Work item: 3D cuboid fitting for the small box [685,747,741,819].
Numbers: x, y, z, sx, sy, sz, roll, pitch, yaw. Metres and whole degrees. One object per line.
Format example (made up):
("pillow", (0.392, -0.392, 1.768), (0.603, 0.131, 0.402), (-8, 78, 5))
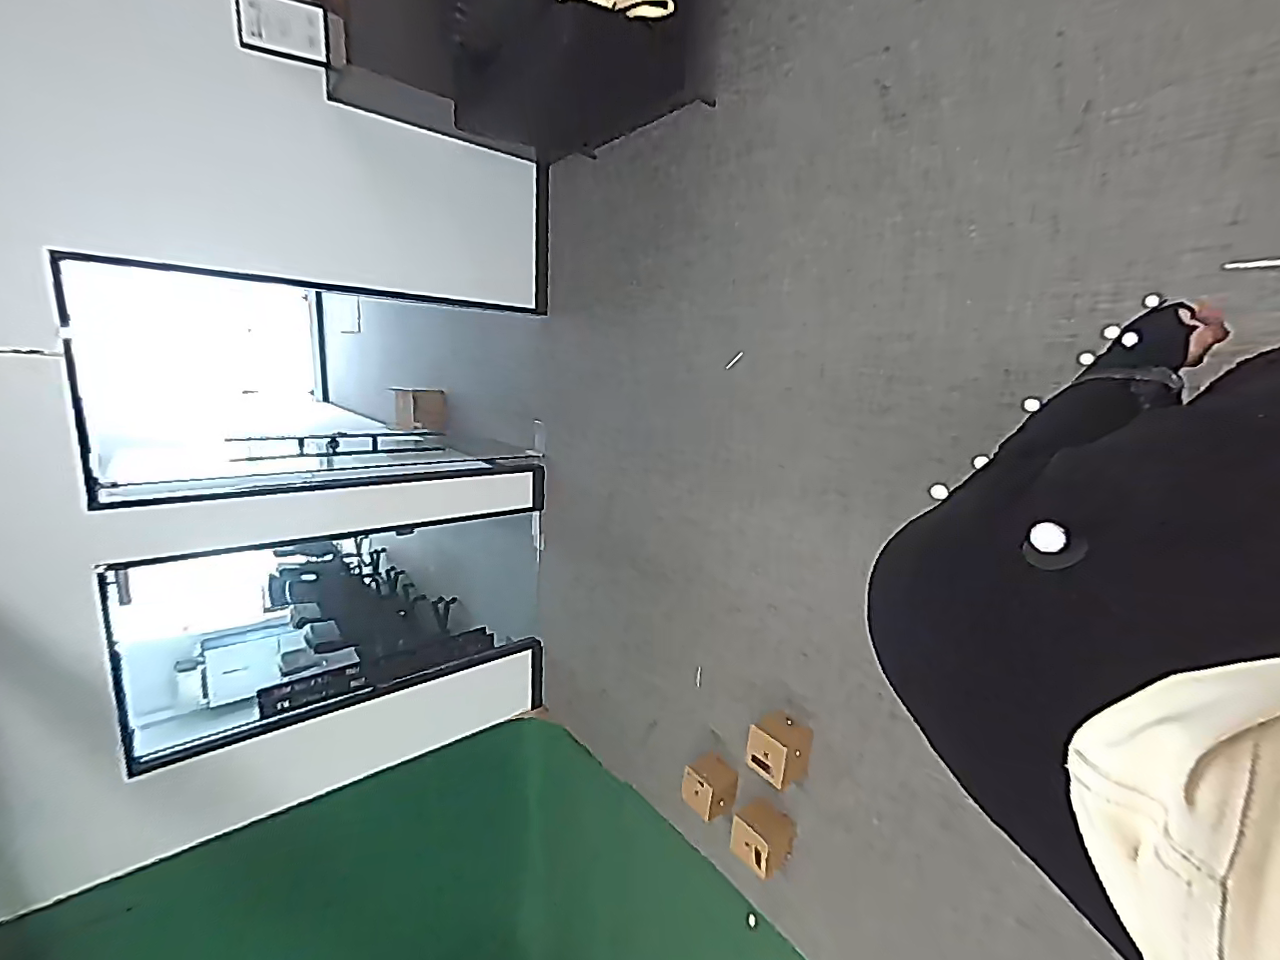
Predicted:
("small box", (0.318, 1.308, 2.345), (0.168, 0.176, 0.179), (21, 112, 48))

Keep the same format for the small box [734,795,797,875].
("small box", (0.497, 1.389, 2.132), (0.179, 0.176, 0.168), (18, 109, 49))
